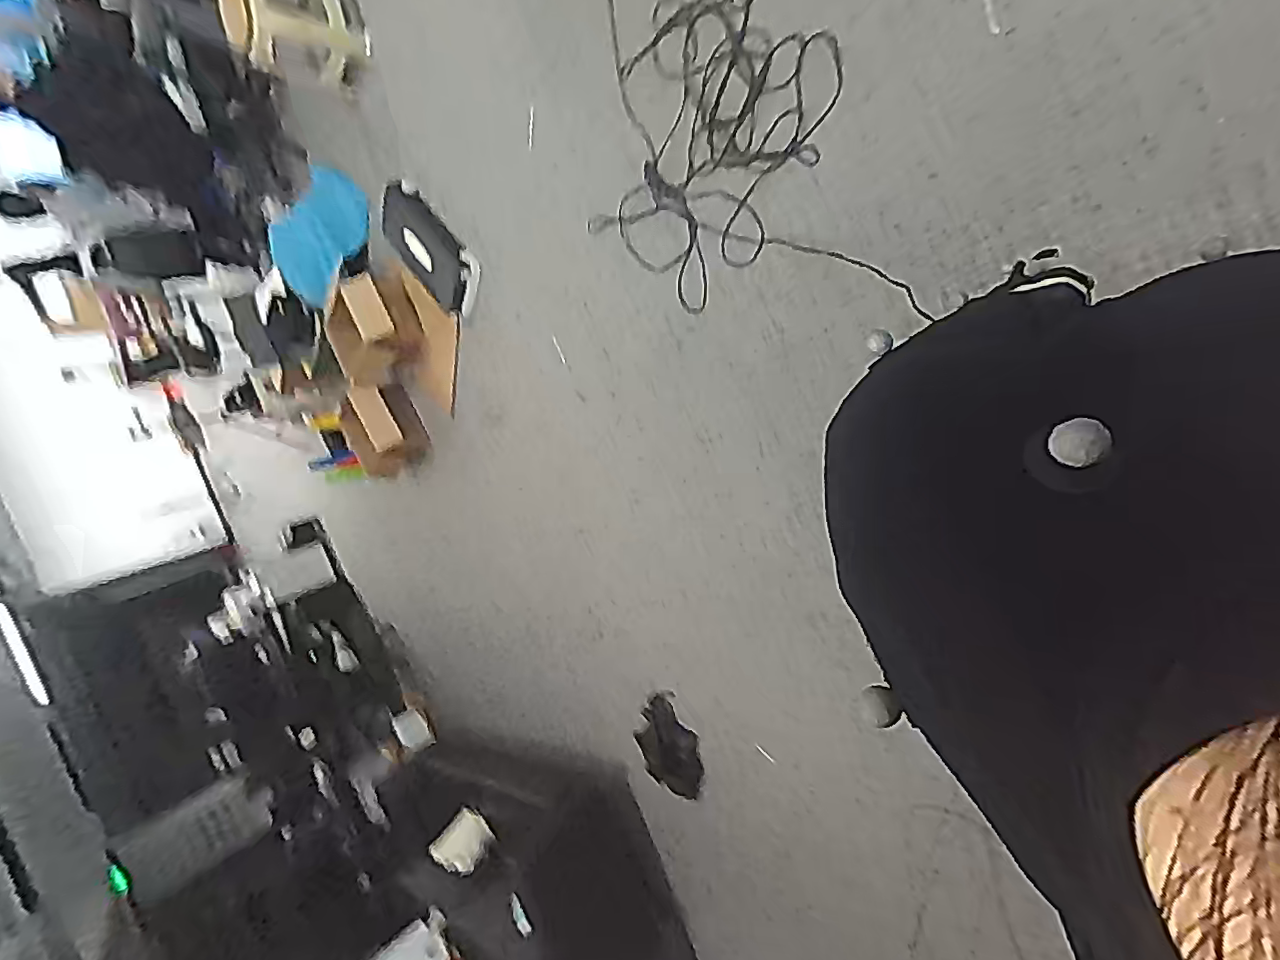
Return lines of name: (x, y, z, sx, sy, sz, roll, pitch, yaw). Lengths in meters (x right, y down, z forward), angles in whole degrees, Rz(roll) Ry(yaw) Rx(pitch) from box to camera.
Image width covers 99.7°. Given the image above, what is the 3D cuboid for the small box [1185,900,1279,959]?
small box: (0.728, 0.617, 0.586, 0.168, 0.176, 0.179, -21, 93, 48)
